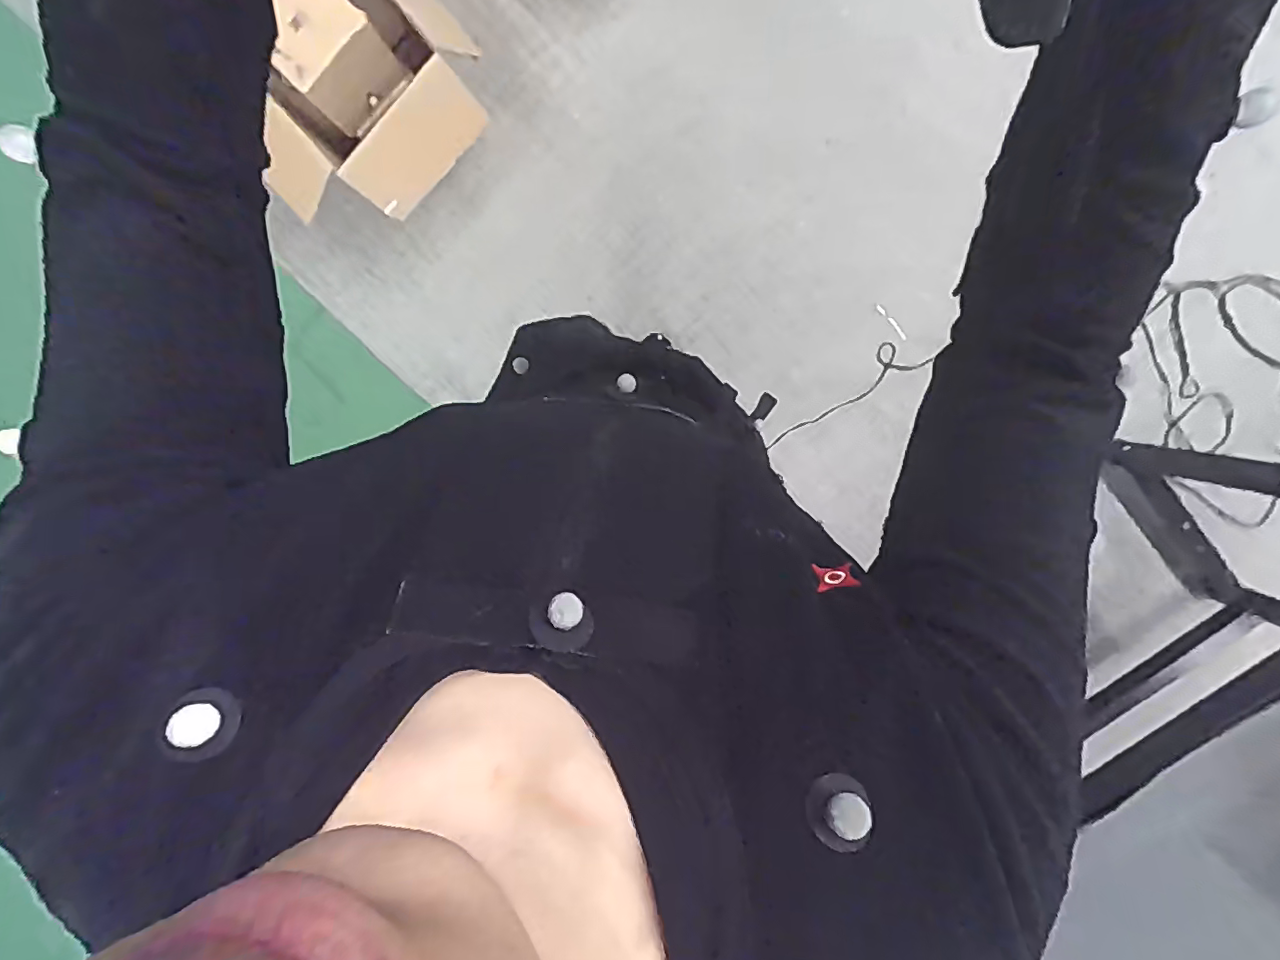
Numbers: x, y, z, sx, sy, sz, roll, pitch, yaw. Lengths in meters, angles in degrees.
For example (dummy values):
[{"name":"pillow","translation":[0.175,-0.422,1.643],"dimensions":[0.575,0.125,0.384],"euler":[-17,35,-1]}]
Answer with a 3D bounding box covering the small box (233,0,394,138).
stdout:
[{"name":"small box","translation":[-0.601,-0.809,1.029],"dimensions":[0.179,0.176,0.168],"euler":[-44,96,5]}]
